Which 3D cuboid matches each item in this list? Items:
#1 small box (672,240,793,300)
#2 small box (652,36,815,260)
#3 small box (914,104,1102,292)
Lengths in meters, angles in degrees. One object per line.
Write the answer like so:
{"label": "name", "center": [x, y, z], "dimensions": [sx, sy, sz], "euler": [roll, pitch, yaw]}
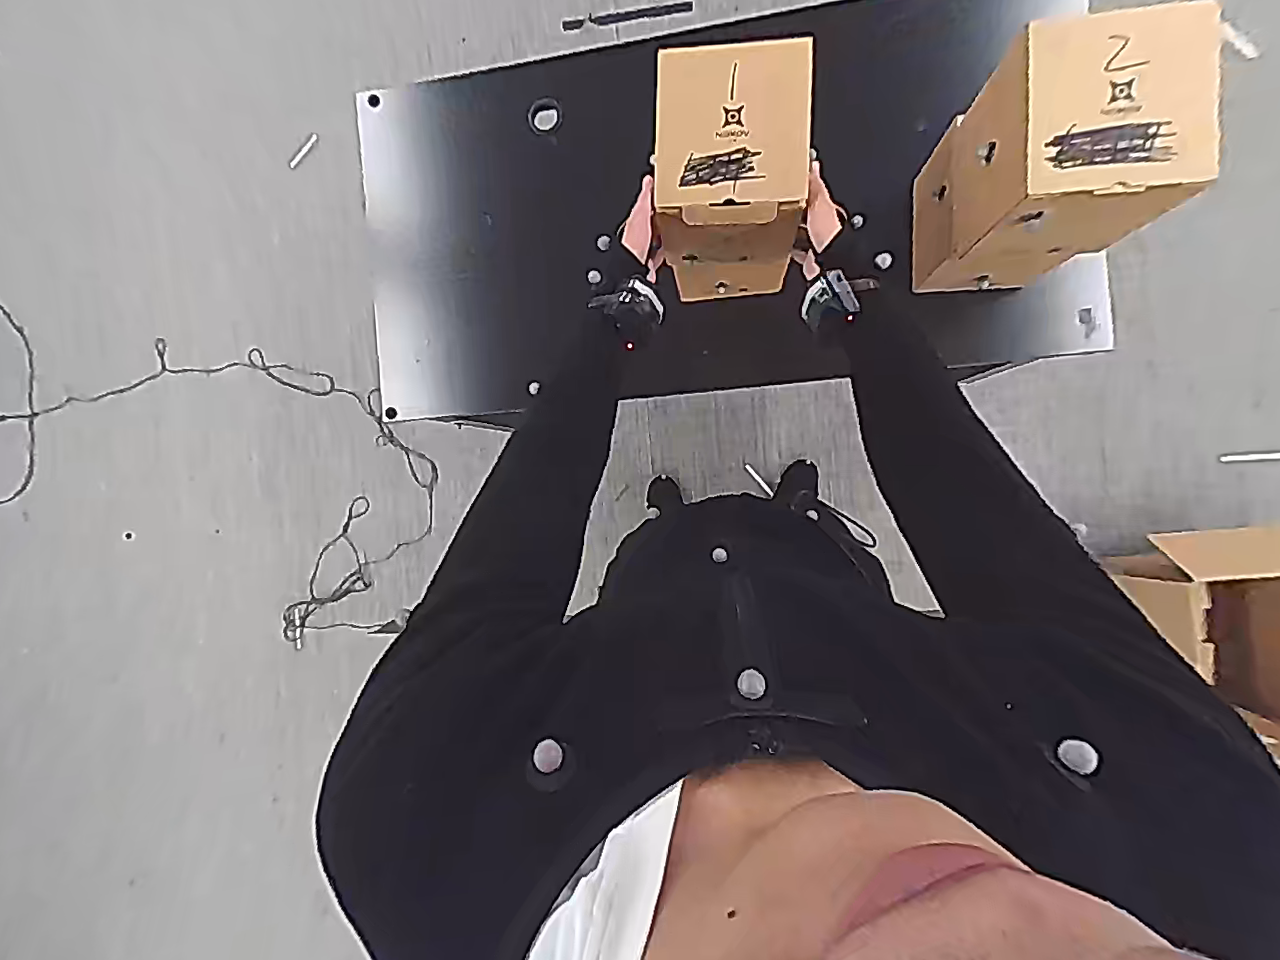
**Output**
{"label": "small box", "center": [0.132, -0.390, 0.813], "dimensions": [0.168, 0.176, 0.179], "euler": [-4, 91, 9]}
{"label": "small box", "center": [0.109, -0.377, 0.651], "dimensions": [0.168, 0.176, 0.179], "euler": [2, 91, 8]}
{"label": "small box", "center": [0.497, -0.379, 0.756], "dimensions": [0.168, 0.176, 0.179], "euler": [1, 91, 9]}
